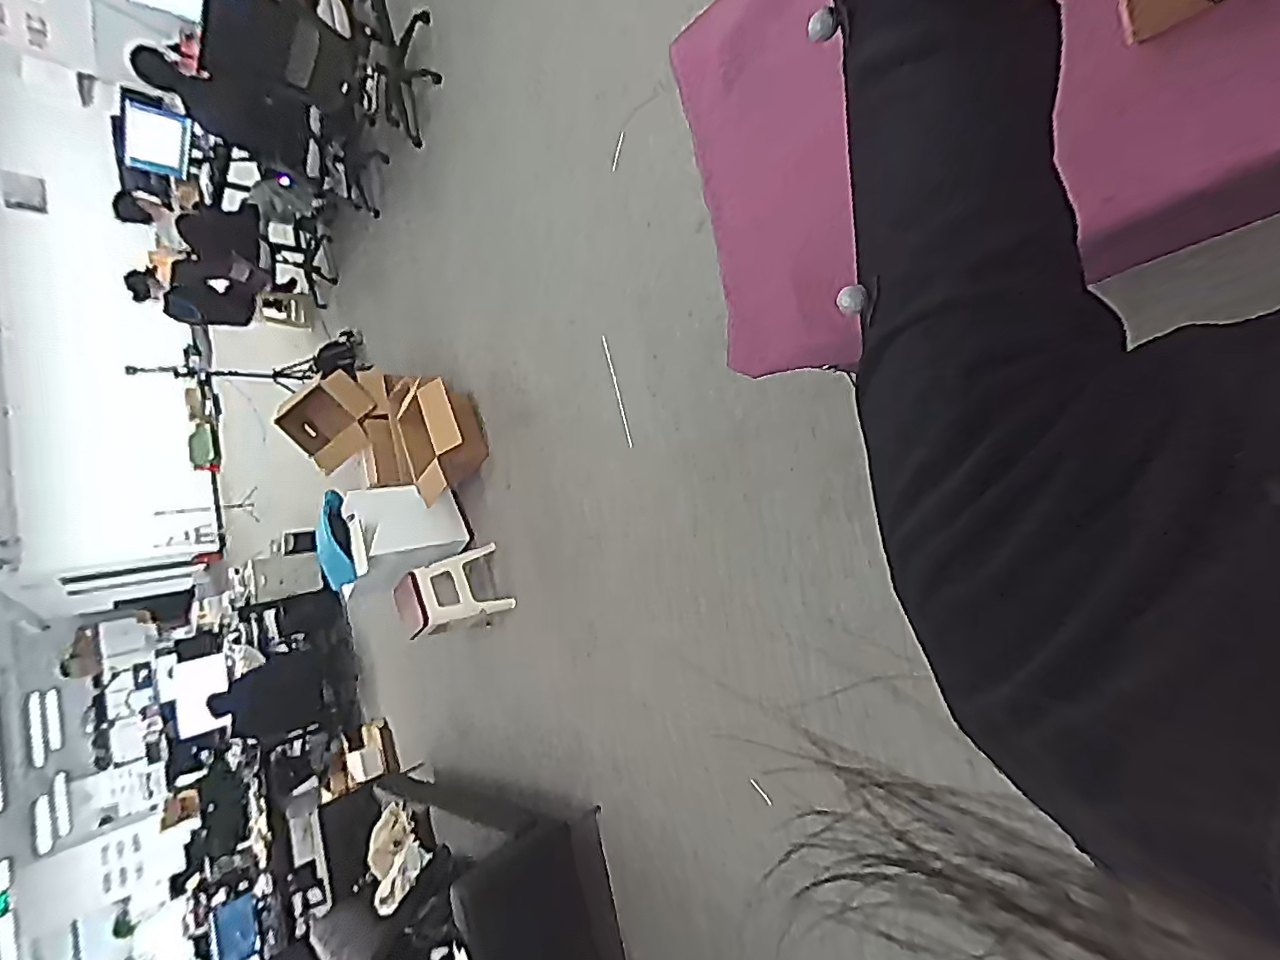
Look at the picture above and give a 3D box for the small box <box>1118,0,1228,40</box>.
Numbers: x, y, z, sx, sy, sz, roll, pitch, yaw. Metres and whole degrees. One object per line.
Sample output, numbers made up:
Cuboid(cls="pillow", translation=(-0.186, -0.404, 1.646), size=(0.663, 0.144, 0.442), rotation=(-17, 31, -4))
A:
Cuboid(cls="small box", translation=(0.495, -0.536, 0.453), size=(0.168, 0.176, 0.179), rotation=(-13, 86, 46))
